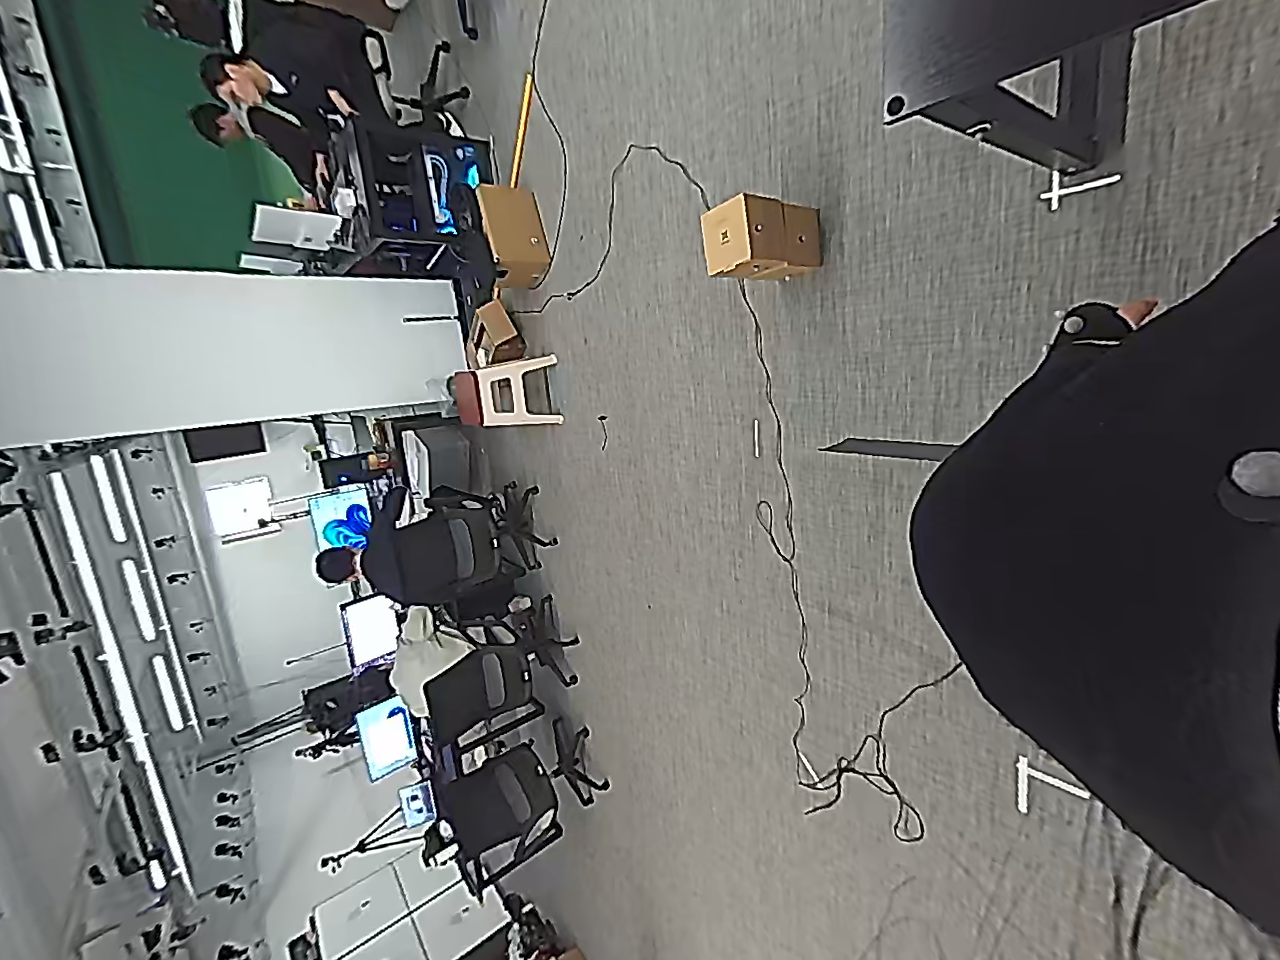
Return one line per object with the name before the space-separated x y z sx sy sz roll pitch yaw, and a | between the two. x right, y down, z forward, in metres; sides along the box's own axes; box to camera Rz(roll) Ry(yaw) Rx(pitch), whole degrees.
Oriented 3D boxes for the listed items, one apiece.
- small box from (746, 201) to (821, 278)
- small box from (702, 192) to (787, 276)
small box | 0.432 -0.723 1.646 0.168 0.176 0.179 5 106 53
small box | 0.303 -0.696 1.550 0.168 0.176 0.179 1 101 52
